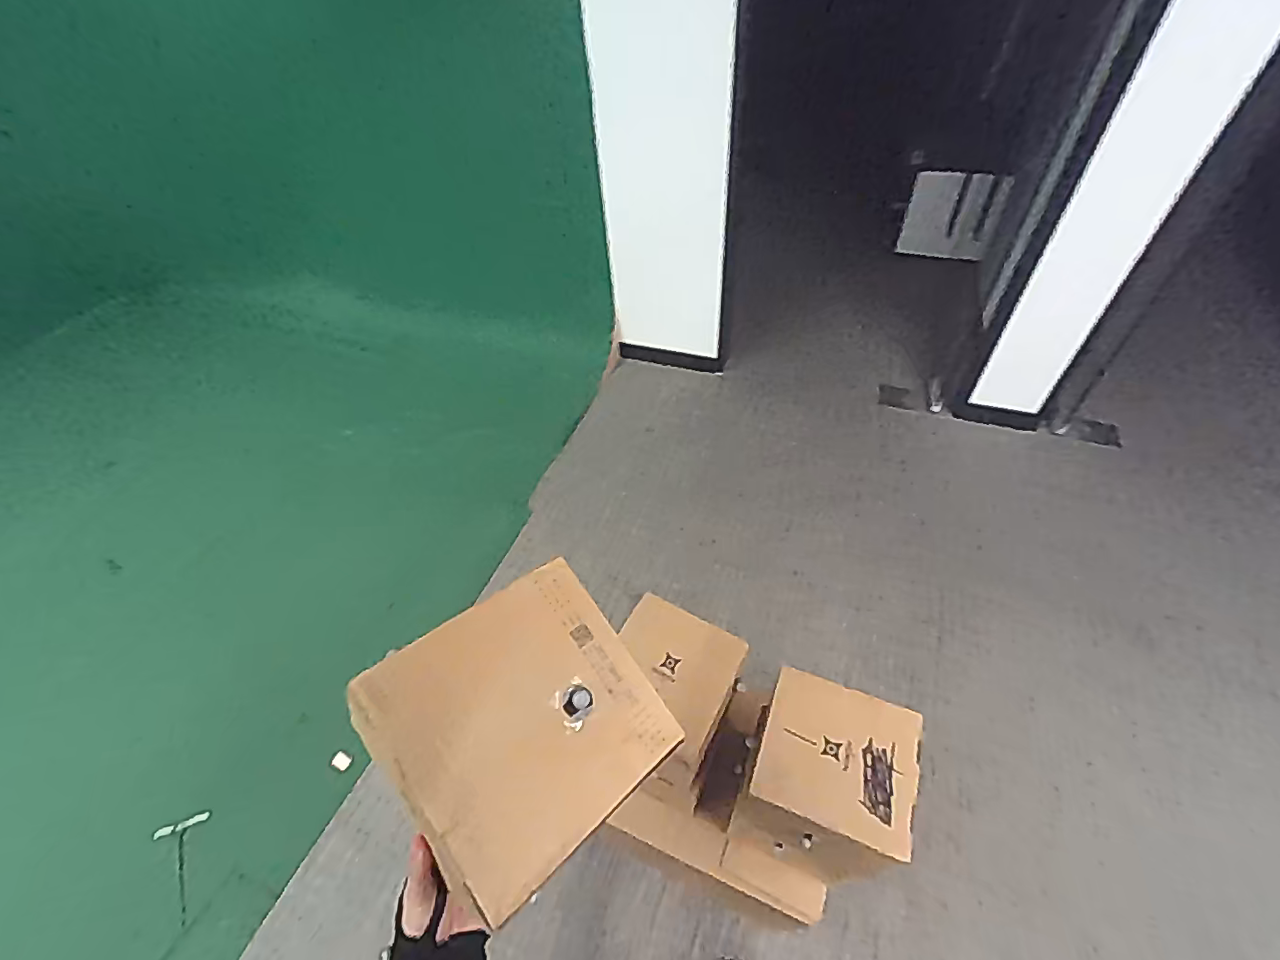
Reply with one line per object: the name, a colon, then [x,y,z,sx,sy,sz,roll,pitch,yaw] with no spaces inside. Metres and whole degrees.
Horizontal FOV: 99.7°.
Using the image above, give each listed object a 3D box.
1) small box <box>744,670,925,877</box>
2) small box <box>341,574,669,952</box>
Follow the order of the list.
small box: [0.243,0.380,0.697,0.179,0.176,0.168,14,51,19]
small box: [-0.106,0.203,0.425,0.176,0.179,0.168,-31,78,-37]
